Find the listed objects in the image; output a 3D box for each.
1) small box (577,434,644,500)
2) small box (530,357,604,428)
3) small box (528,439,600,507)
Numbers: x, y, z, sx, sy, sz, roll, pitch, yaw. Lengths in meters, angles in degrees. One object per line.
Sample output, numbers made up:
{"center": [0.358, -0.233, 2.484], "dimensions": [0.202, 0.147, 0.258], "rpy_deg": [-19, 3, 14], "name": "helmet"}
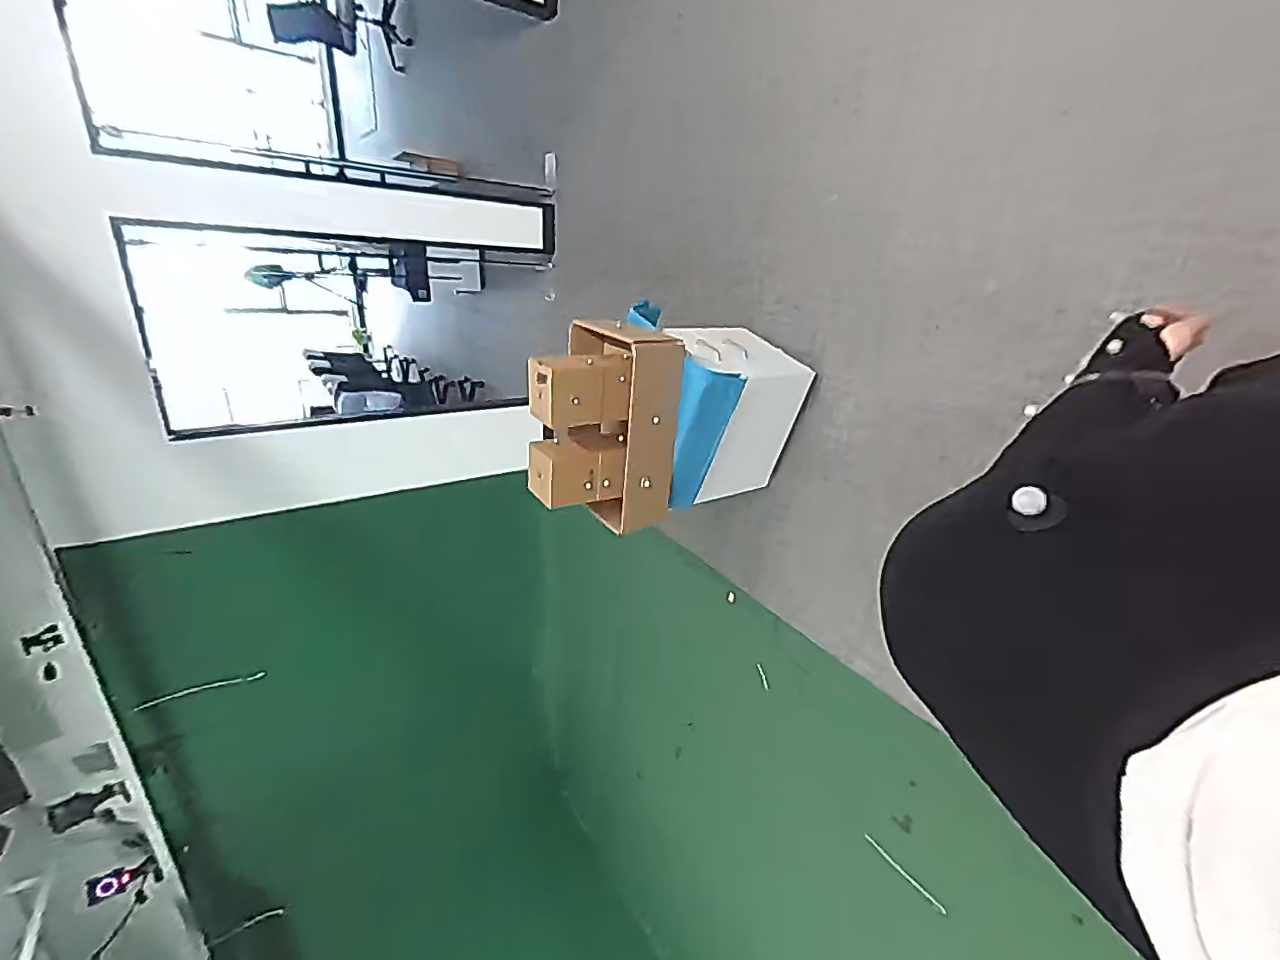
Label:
{"center": [-0.106, -0.050, 1.817], "dimensions": [0.179, 0.176, 0.168], "rpy_deg": [35, 126, 49], "name": "small box"}
{"center": [-0.219, -0.270, 1.626], "dimensions": [0.168, 0.176, 0.179], "rpy_deg": [34, 127, 49], "name": "small box"}
{"center": [-0.245, -0.029, 1.734], "dimensions": [0.179, 0.176, 0.168], "rpy_deg": [34, 125, 49], "name": "small box"}
